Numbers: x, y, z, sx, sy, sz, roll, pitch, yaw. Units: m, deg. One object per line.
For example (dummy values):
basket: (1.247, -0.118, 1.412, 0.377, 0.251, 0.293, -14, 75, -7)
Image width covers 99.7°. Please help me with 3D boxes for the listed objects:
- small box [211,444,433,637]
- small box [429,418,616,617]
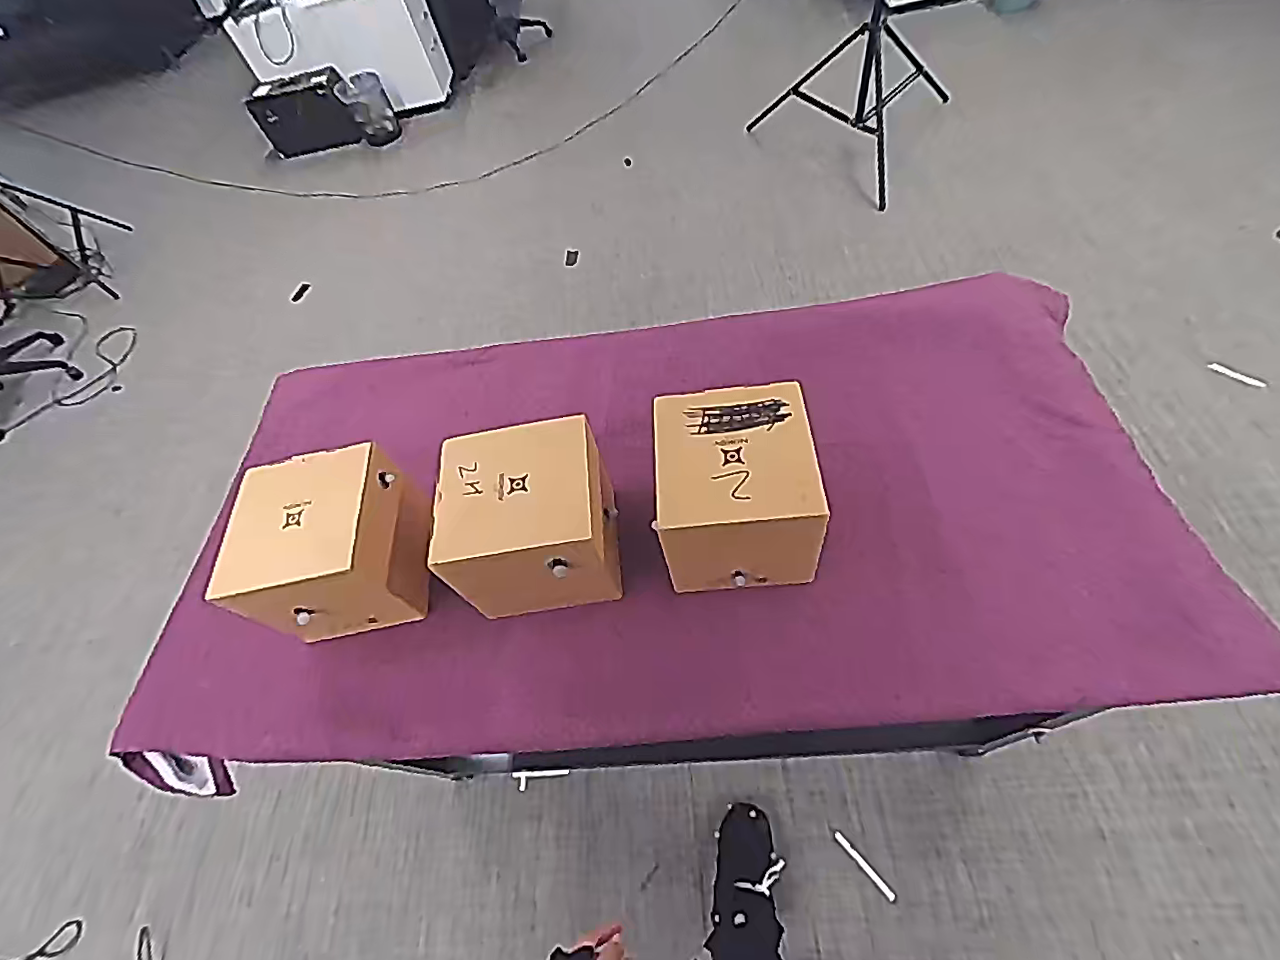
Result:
small box: (-0.380, 0.086, 0.685, 0.168, 0.176, 0.179, -13, 55, 3)
small box: (-0.127, 0.051, 0.656, 0.179, 0.176, 0.168, -10, 55, 4)
